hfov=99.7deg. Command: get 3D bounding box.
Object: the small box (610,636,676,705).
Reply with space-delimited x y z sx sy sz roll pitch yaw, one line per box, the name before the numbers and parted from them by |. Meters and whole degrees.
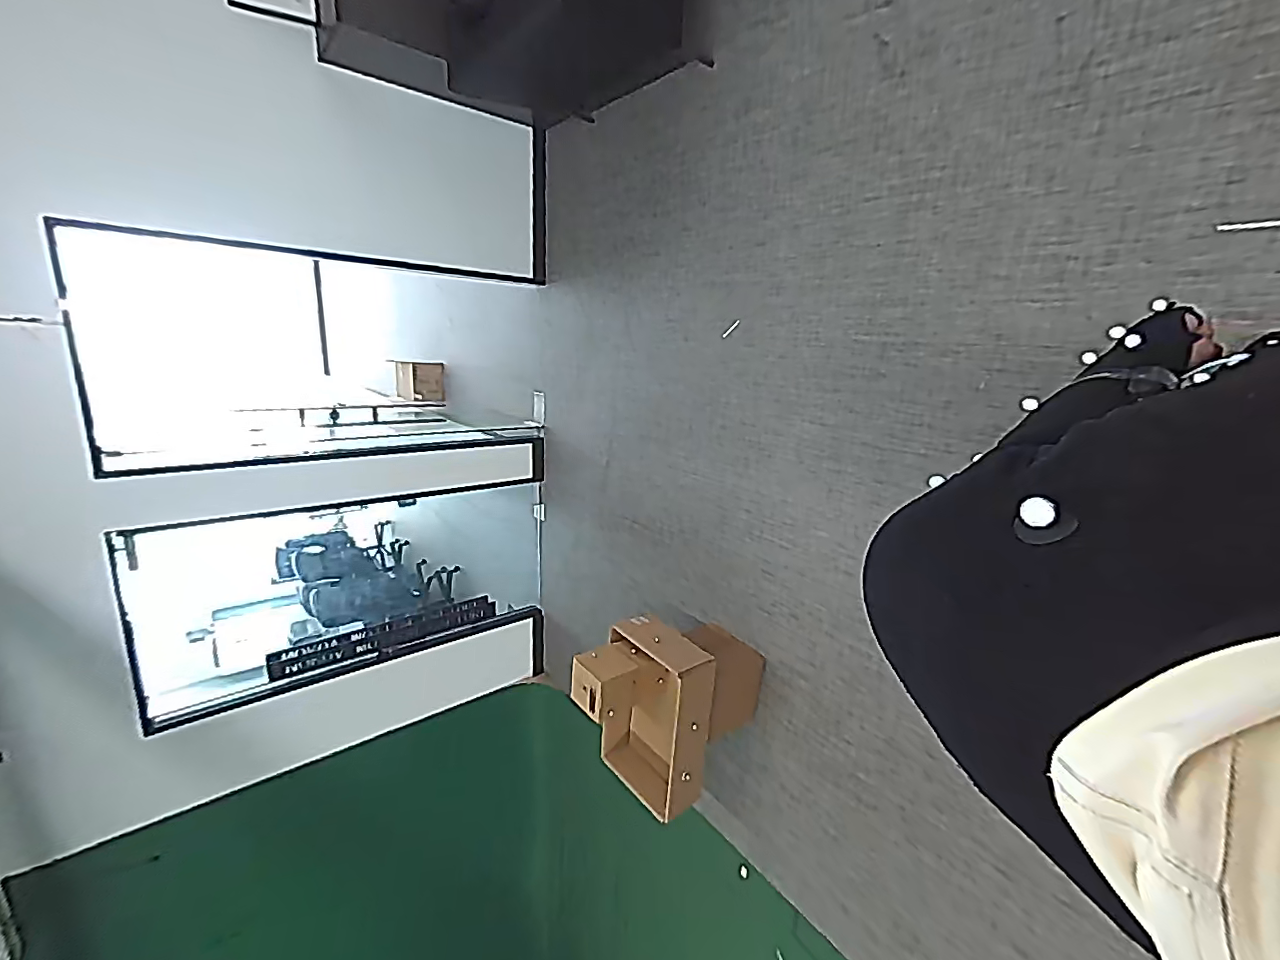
small box | 0.009 0.706 2.034 0.179 0.176 0.168 21 112 47
